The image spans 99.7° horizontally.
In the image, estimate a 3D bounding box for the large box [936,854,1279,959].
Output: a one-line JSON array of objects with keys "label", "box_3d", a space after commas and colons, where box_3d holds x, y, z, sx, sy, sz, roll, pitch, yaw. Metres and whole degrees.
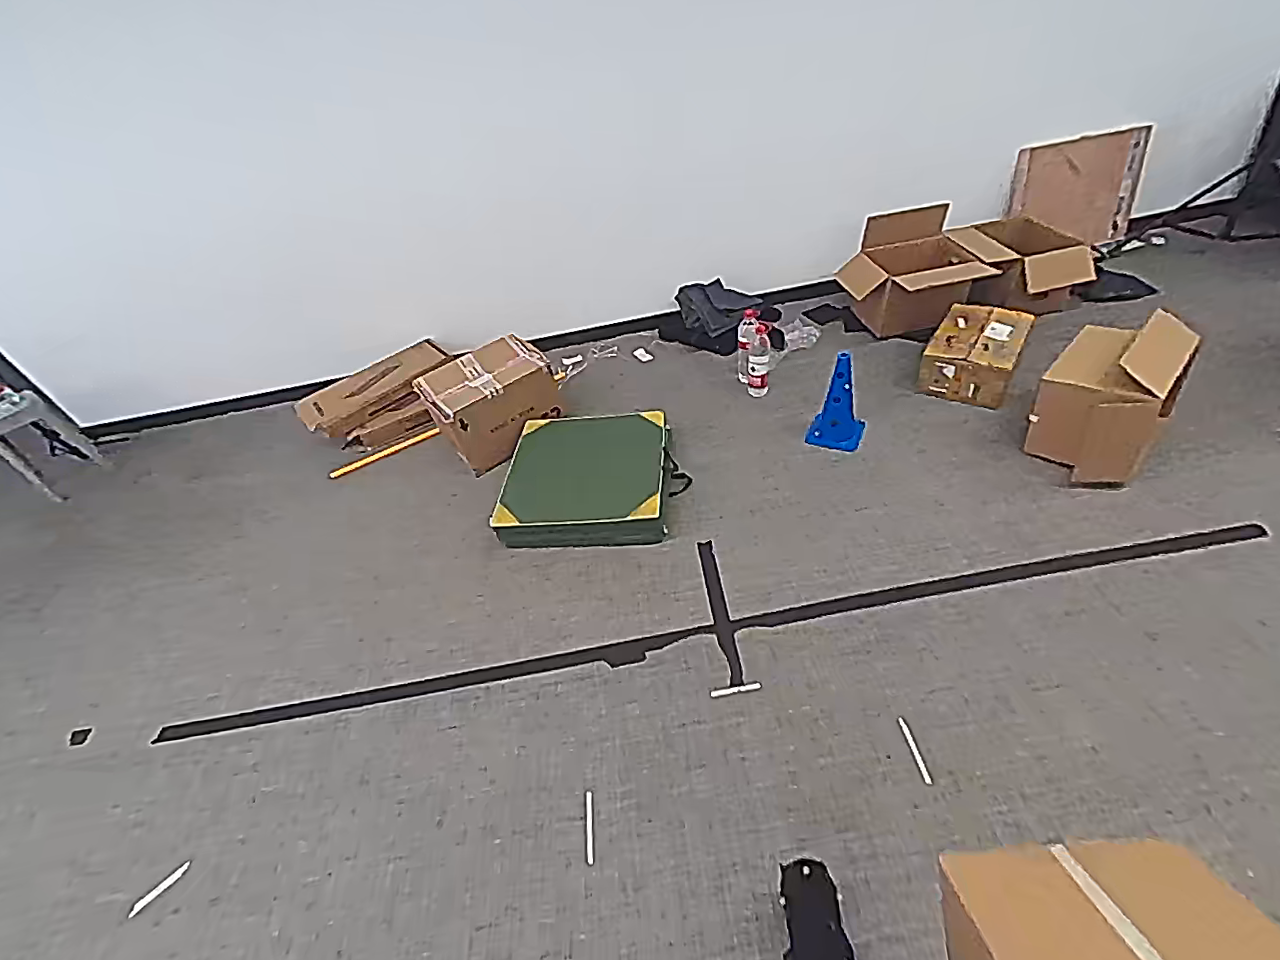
[{"label": "large box", "box_3d": [0.563, 0.685, 0.552, 0.320, 0.320, 0.408, -9, 5, 6]}]
